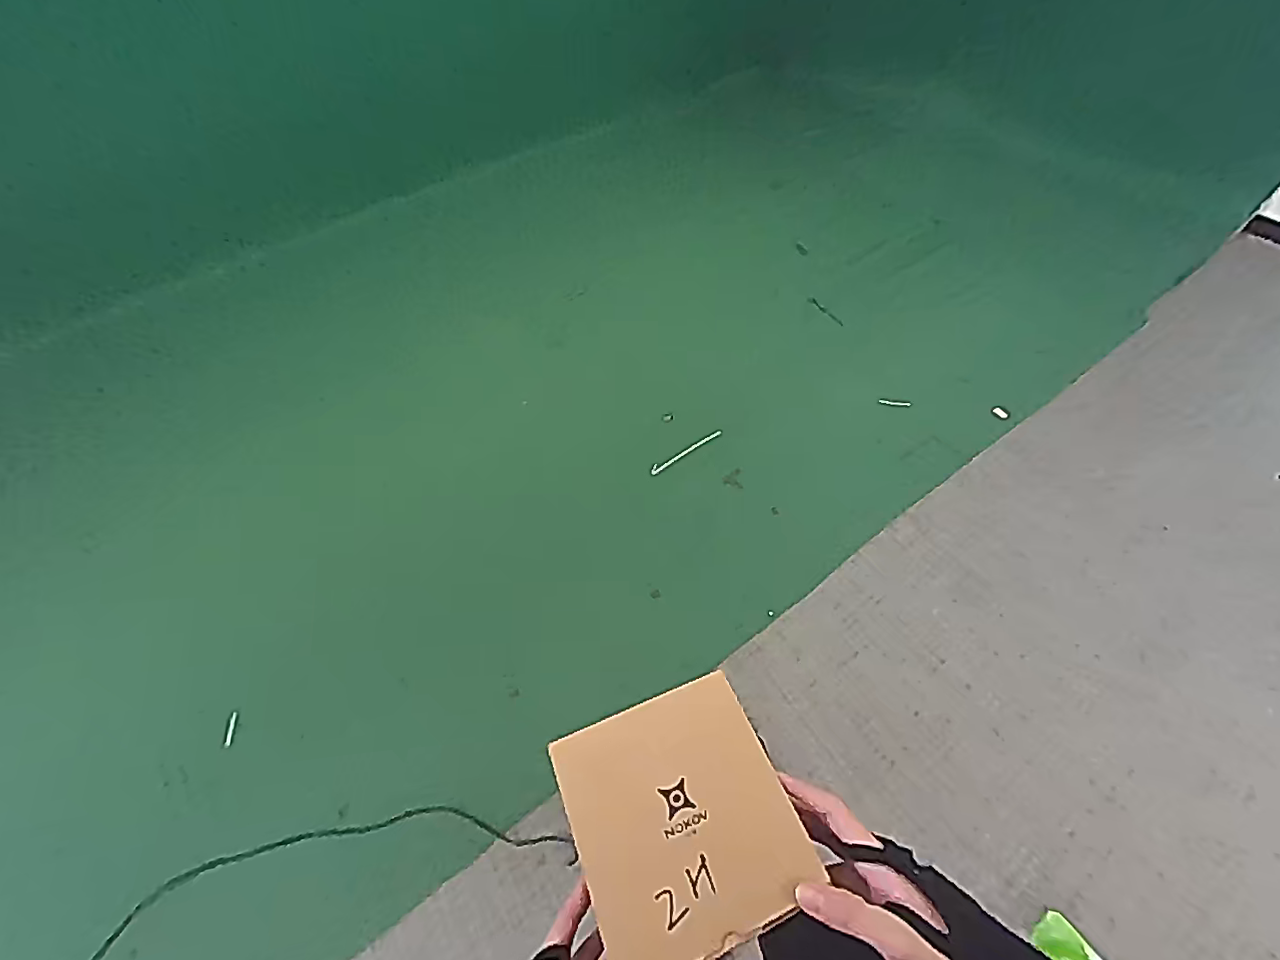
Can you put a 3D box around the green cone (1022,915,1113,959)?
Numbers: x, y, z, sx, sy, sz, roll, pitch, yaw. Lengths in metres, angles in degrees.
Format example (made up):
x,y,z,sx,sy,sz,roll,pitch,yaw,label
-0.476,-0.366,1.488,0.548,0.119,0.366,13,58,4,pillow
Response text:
x,y,z,sx,sy,sz,roll,pitch,yaw,label
0.877,0.940,0.947,0.202,0.368,0.200,-32,58,-16,green cone
